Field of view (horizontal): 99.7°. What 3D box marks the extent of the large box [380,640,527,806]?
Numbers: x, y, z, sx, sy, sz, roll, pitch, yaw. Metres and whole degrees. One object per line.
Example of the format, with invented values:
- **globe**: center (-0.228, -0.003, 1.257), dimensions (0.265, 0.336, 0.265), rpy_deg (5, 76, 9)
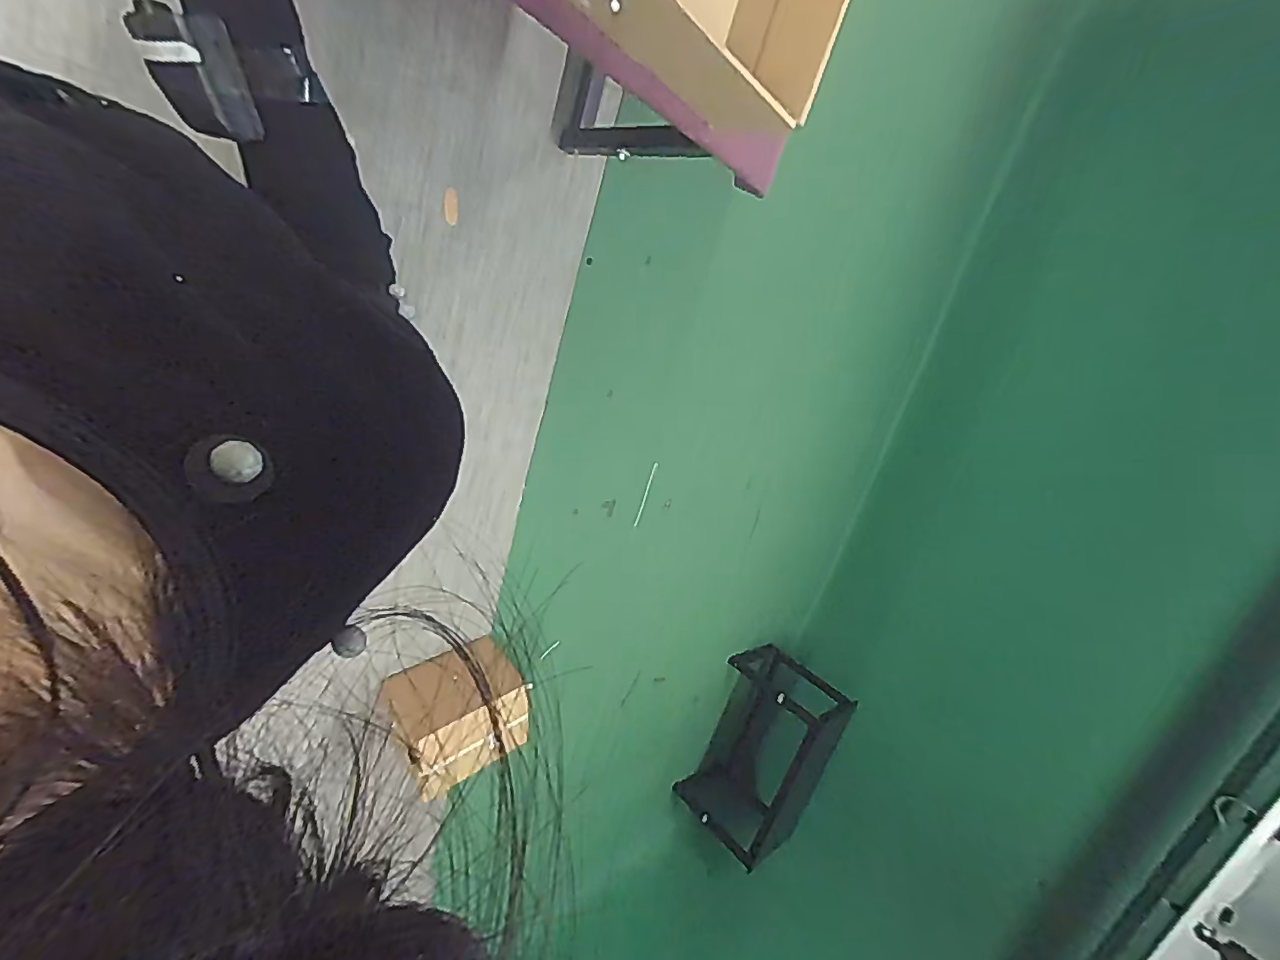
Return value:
- **large box**: center (-0.668, 0.857, 1.963), dimensions (0.408, 0.320, 0.320), rpy_deg (-18, 125, -41)
